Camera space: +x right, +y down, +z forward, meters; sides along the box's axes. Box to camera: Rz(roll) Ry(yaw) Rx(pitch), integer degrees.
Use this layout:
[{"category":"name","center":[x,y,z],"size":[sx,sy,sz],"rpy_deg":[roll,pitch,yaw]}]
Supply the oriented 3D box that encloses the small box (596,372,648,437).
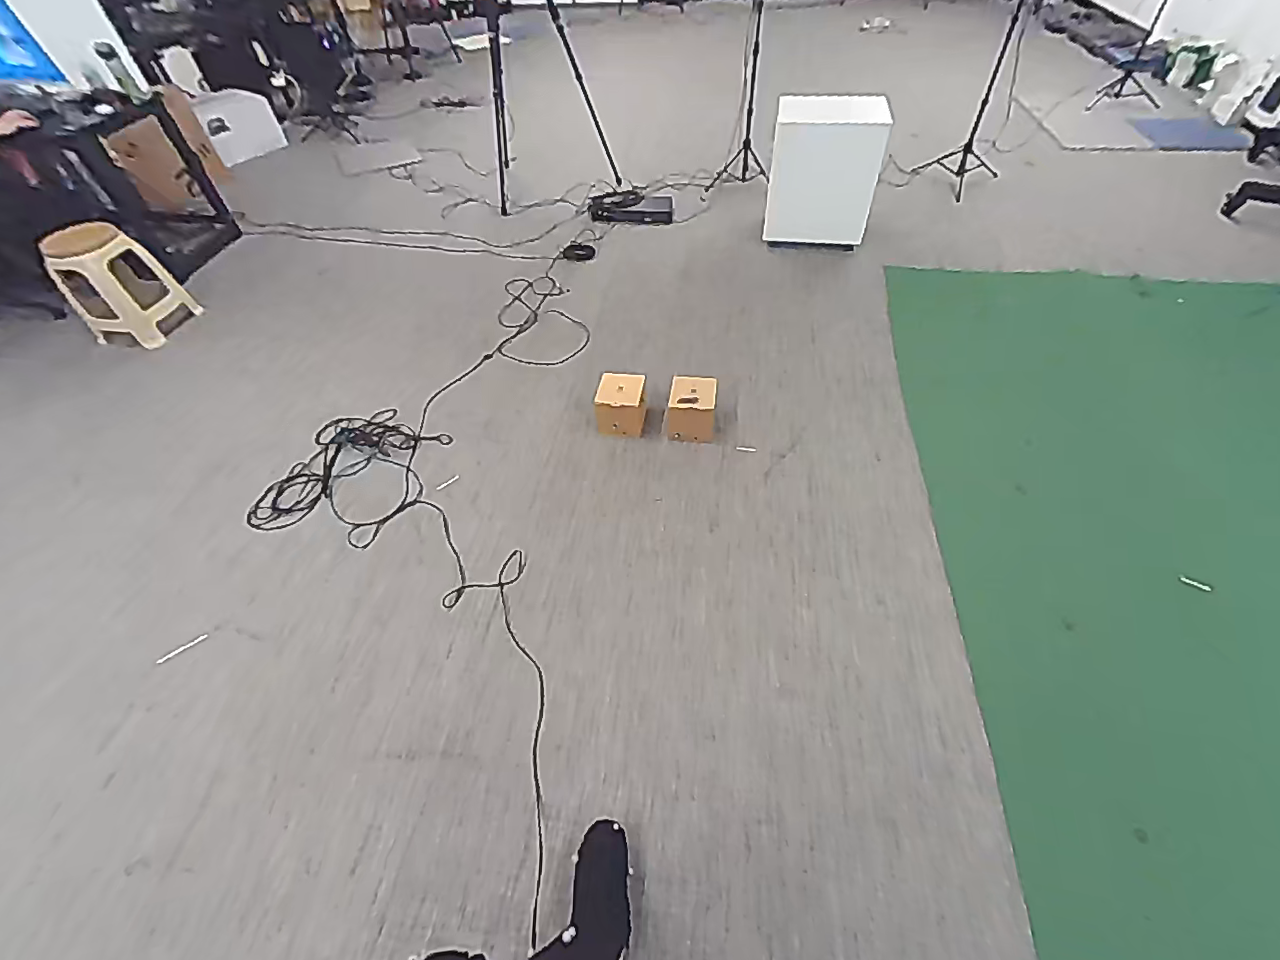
[{"category":"small box","center":[-0.064,-0.290,2.068],"size":[0.168,0.176,0.179],"rpy_deg":[5,50,8]}]

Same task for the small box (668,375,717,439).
[{"category":"small box","center":[0.200,-0.270,2.032],"size":[0.168,0.176,0.179],"rpy_deg":[5,49,8]}]
